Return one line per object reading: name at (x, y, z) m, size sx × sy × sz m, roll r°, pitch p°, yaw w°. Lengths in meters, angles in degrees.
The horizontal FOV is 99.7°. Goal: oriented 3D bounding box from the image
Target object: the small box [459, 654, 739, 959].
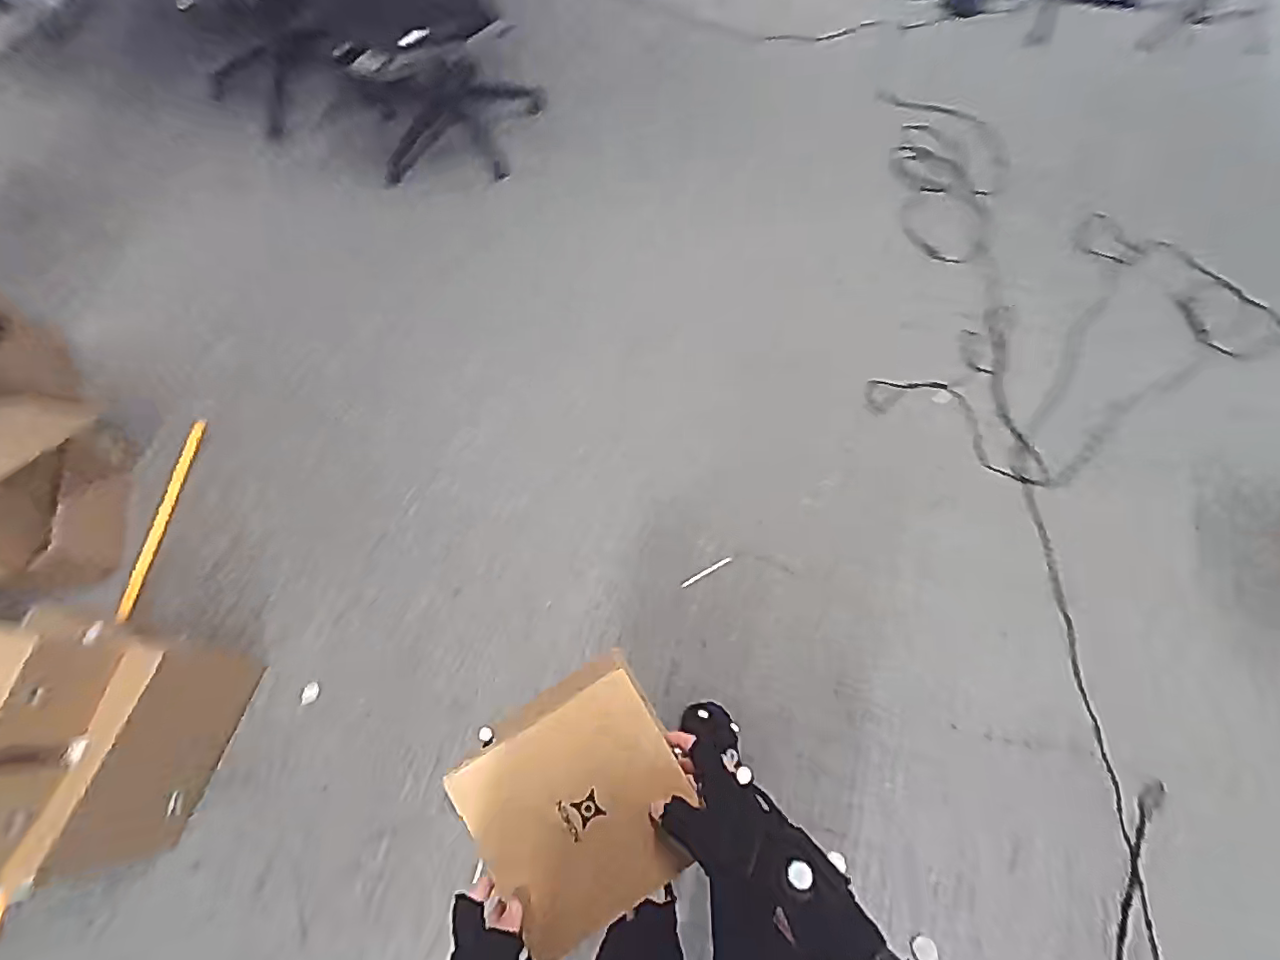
small box at (-0.038, 0.285, 0.509) m, size 0.179 × 0.176 × 0.168 m, roll -29°, pitch 83°, yaw -7°
